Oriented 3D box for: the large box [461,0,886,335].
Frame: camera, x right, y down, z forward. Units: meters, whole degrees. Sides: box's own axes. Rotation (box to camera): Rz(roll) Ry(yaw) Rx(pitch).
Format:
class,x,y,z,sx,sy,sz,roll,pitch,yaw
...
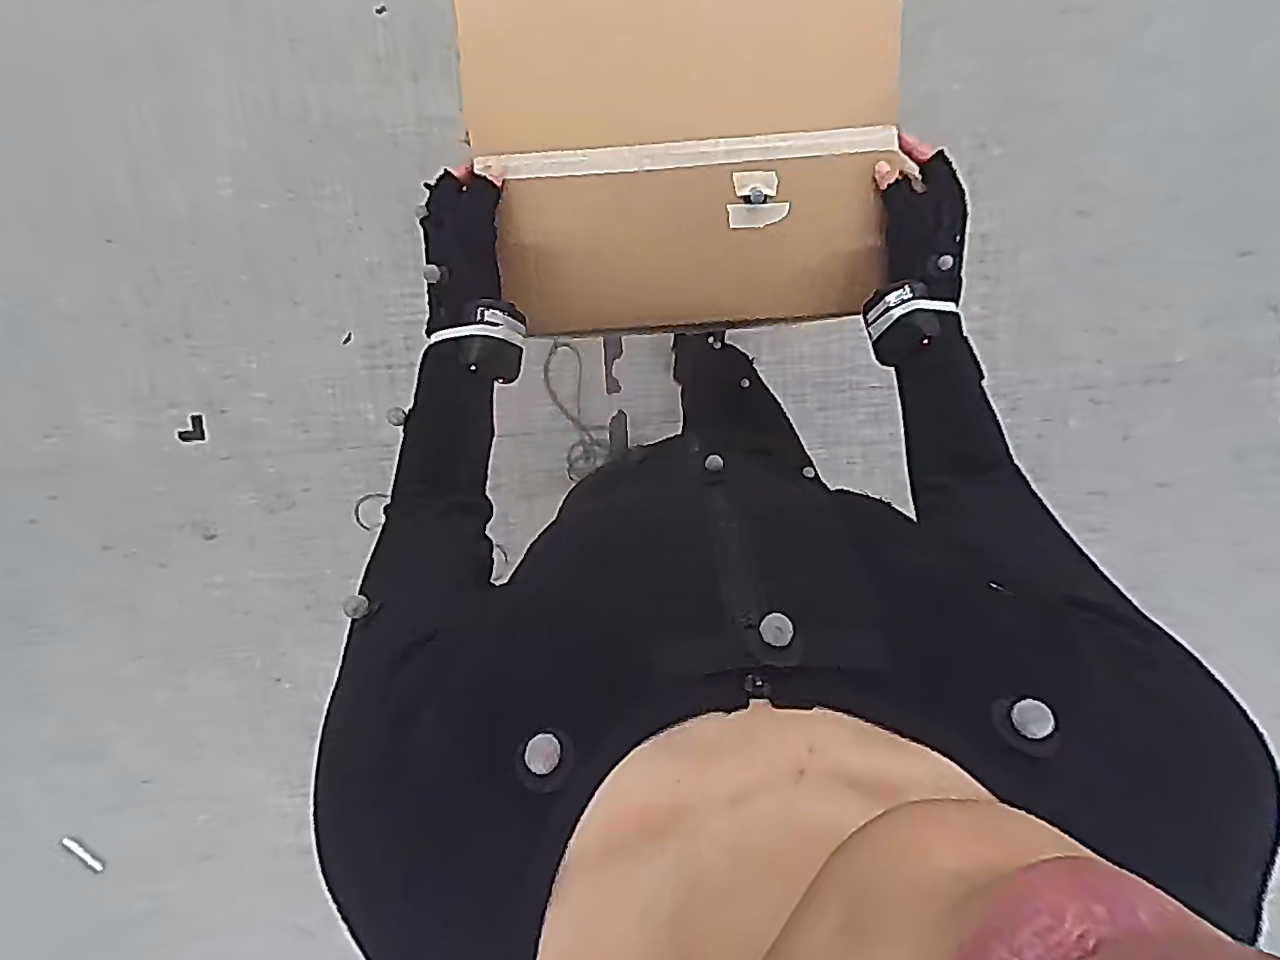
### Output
class,x,y,z,sx,sy,sz,roll,pitch,yaw
large box,0.039,-0.362,0.678,0.408,0.320,0.320,-4,104,0
